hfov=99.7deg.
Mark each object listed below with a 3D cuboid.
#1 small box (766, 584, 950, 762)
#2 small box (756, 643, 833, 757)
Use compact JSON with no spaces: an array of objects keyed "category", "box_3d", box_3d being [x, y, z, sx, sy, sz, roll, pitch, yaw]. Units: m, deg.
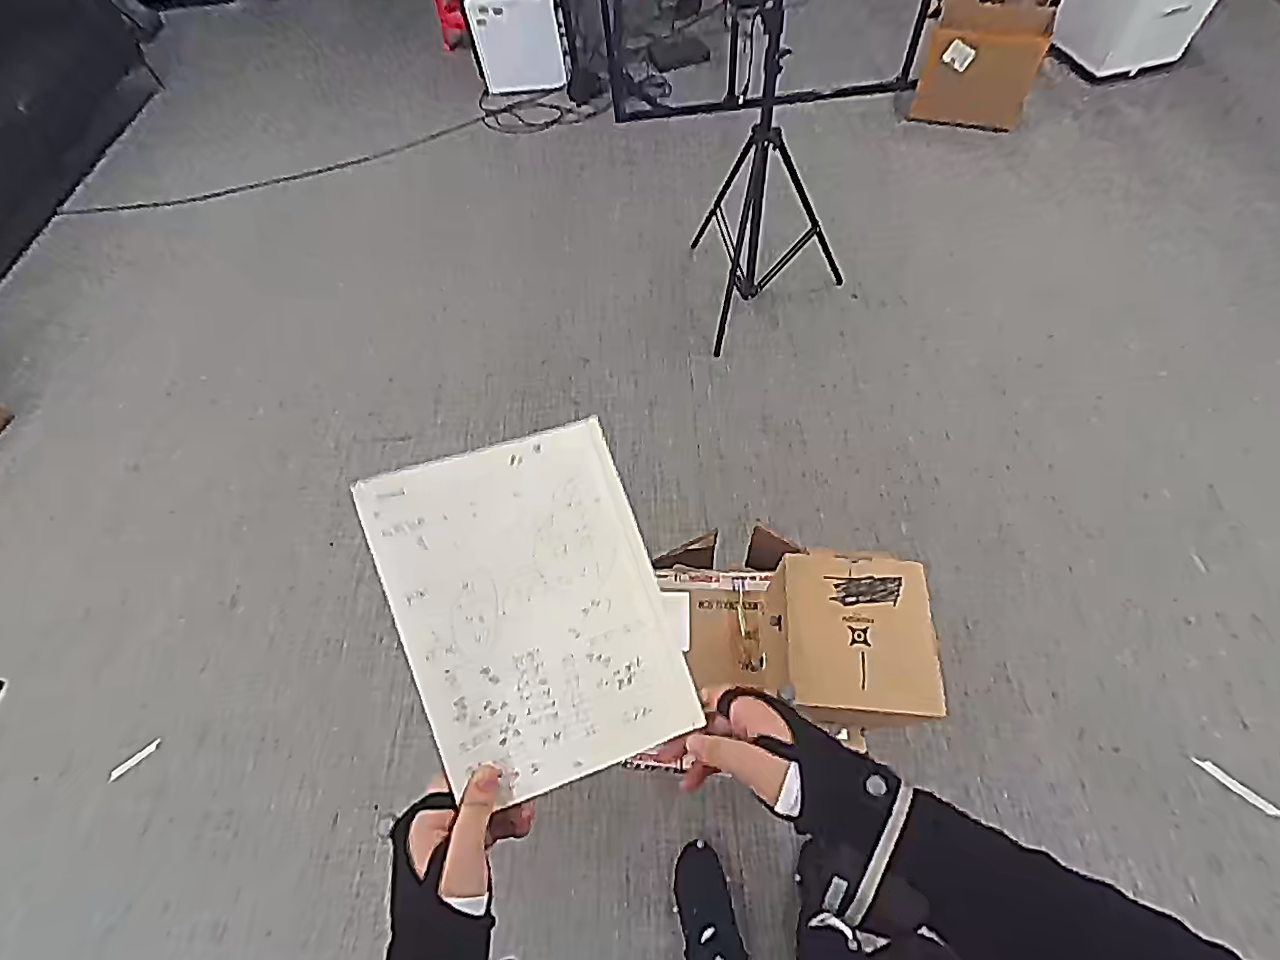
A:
[{"category":"small box","box_3d":[0.252,0.245,0.675,0.168,0.176,0.179,4,62,5]},{"category":"small box","box_3d":[0.280,0.322,0.819,0.179,0.176,0.168,0,61,4]}]
